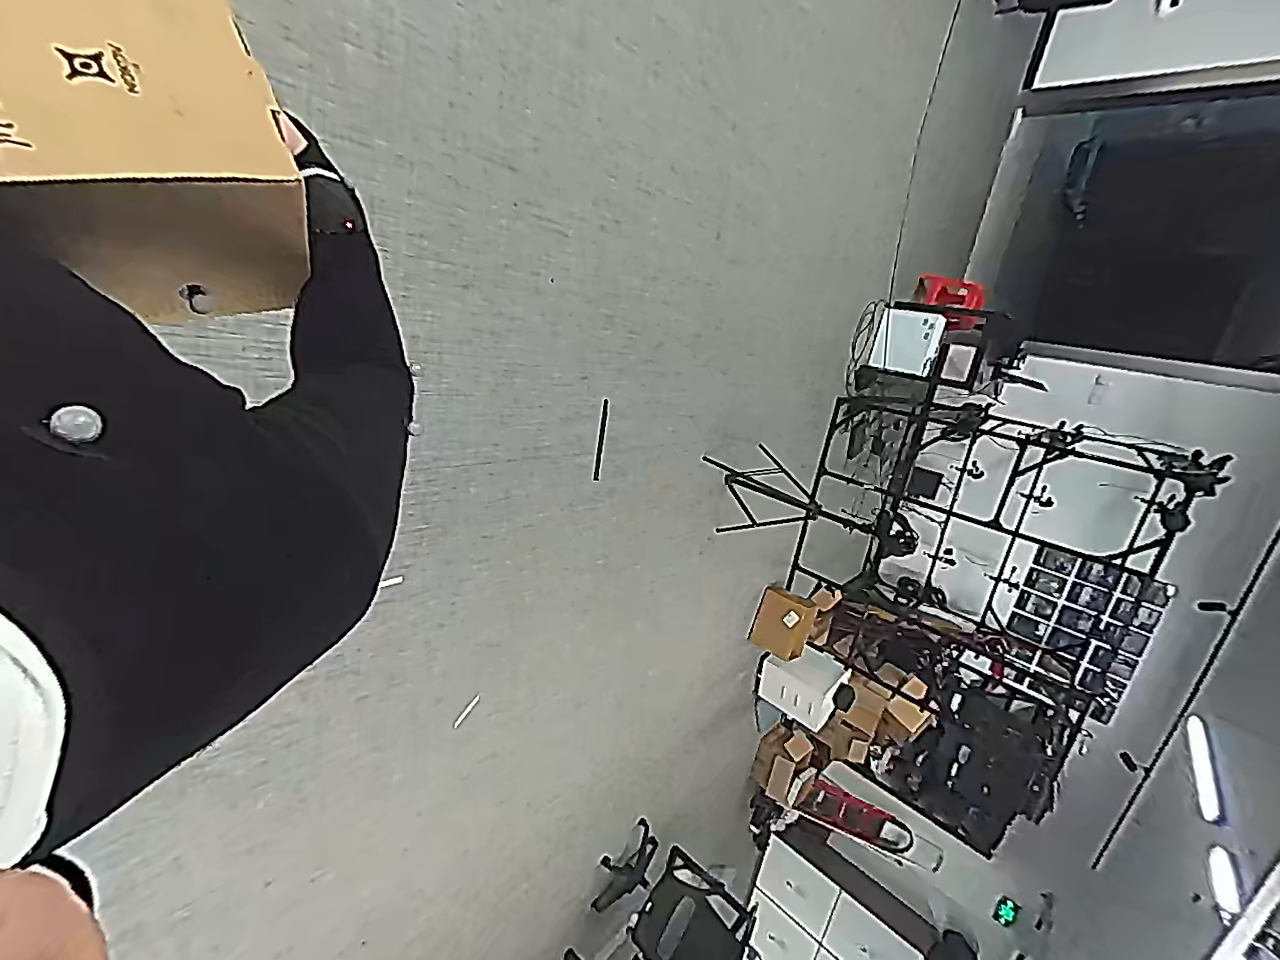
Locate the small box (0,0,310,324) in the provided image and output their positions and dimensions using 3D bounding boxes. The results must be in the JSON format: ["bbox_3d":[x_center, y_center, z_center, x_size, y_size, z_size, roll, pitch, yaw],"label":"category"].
[{"bbox_3d":[-0.386,-0.246,0.430,0.179,0.176,0.168,-21,85,-33],"label":"small box"}]
